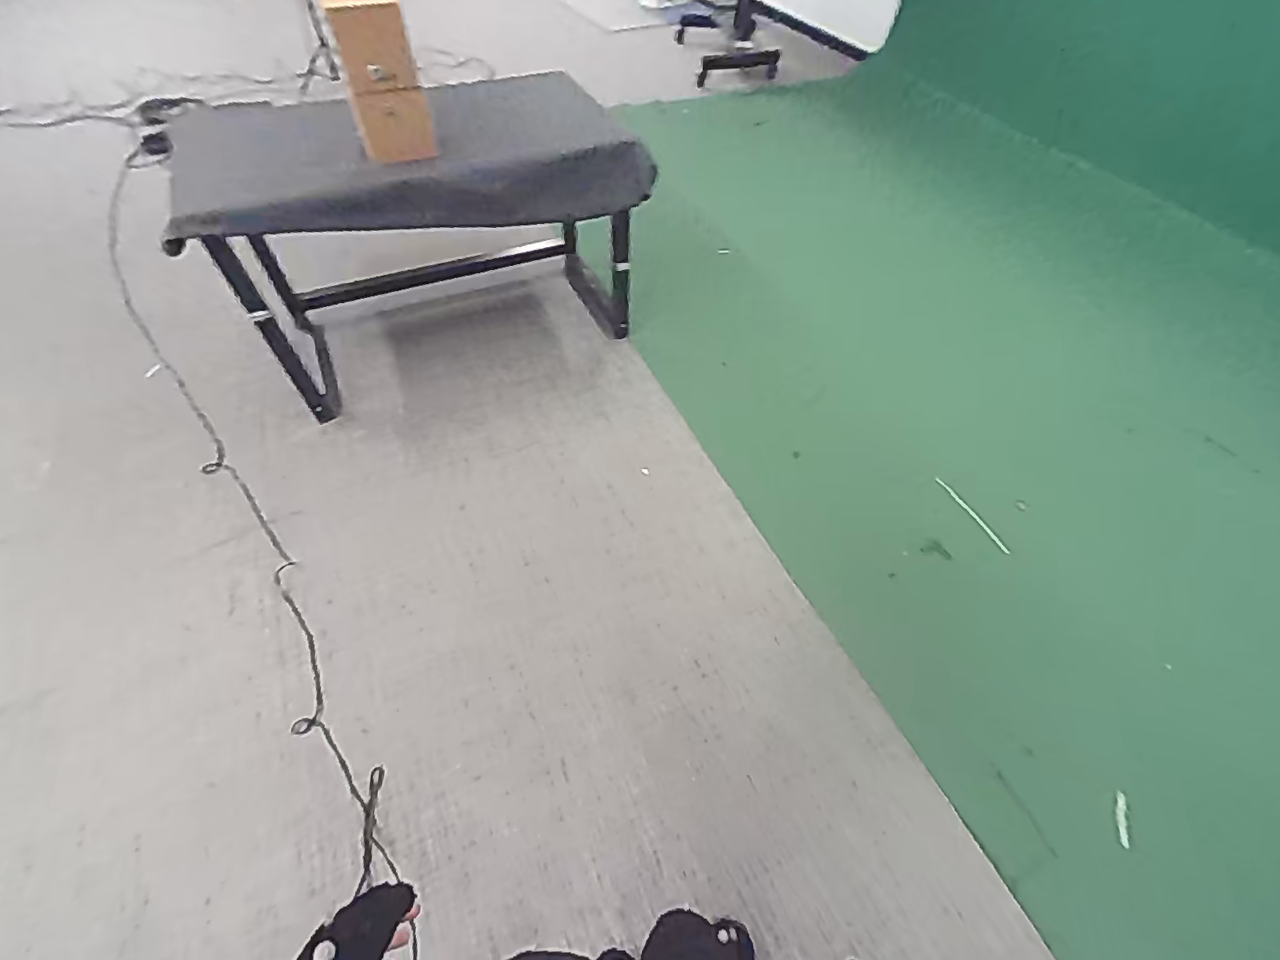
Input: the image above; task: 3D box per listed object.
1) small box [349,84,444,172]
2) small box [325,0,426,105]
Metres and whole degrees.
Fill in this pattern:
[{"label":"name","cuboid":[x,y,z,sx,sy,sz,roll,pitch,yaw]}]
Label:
[{"label":"small box","cuboid":[-0.653,-0.956,1.460,0.179,0.176,0.168,-20,56,-17]},{"label":"small box","cuboid":[-0.648,-1.057,1.334,0.168,0.176,0.179,-21,57,-15]}]
